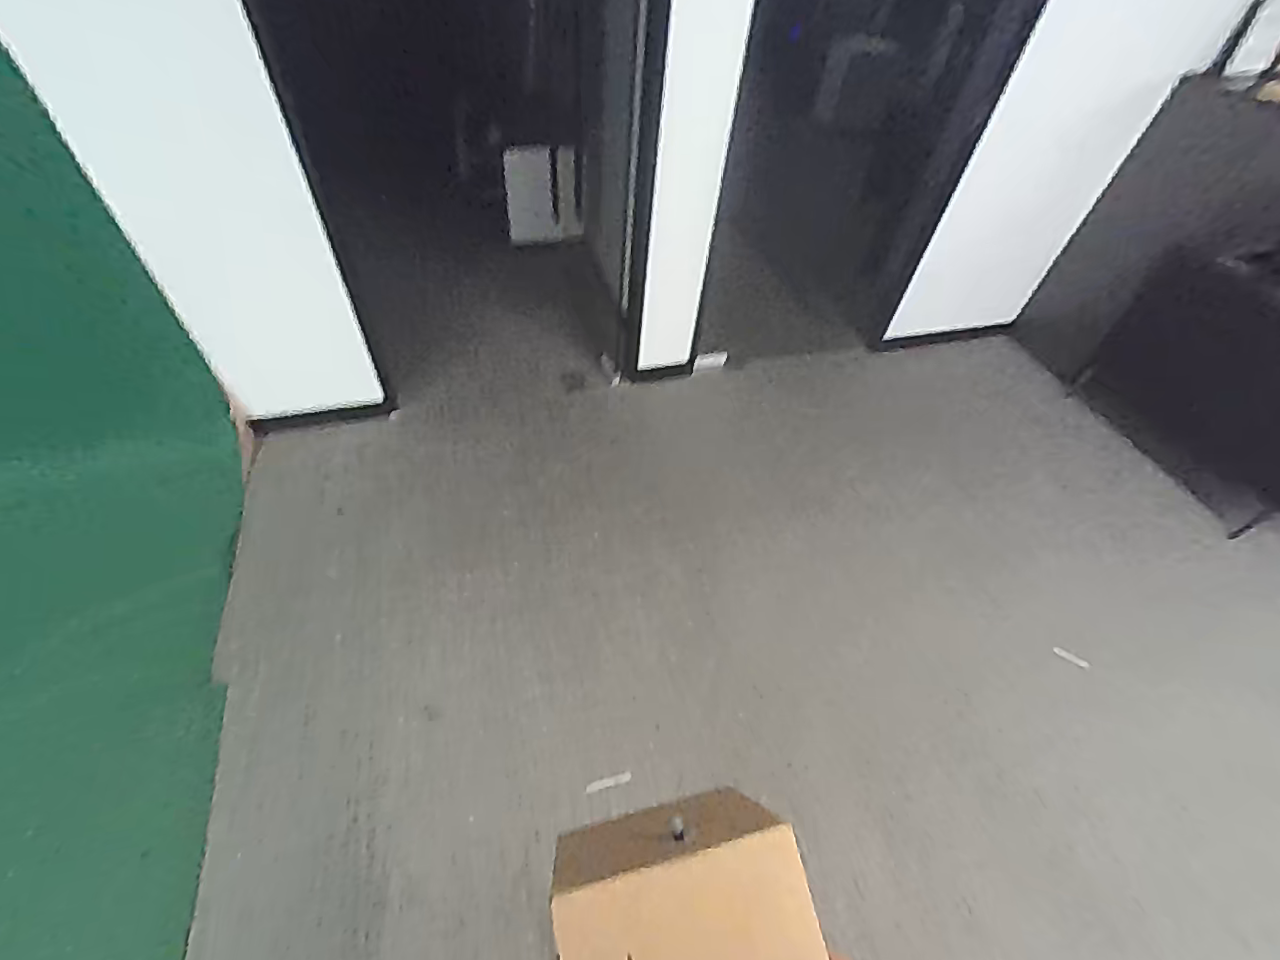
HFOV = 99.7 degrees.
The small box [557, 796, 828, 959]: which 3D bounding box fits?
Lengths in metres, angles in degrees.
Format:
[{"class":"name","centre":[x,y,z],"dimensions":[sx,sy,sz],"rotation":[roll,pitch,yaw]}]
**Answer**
[{"class":"small box","centre":[0.034,0.368,0.421],"dimensions":[0.179,0.176,0.168],"rotation":[-10,70,-11]}]
